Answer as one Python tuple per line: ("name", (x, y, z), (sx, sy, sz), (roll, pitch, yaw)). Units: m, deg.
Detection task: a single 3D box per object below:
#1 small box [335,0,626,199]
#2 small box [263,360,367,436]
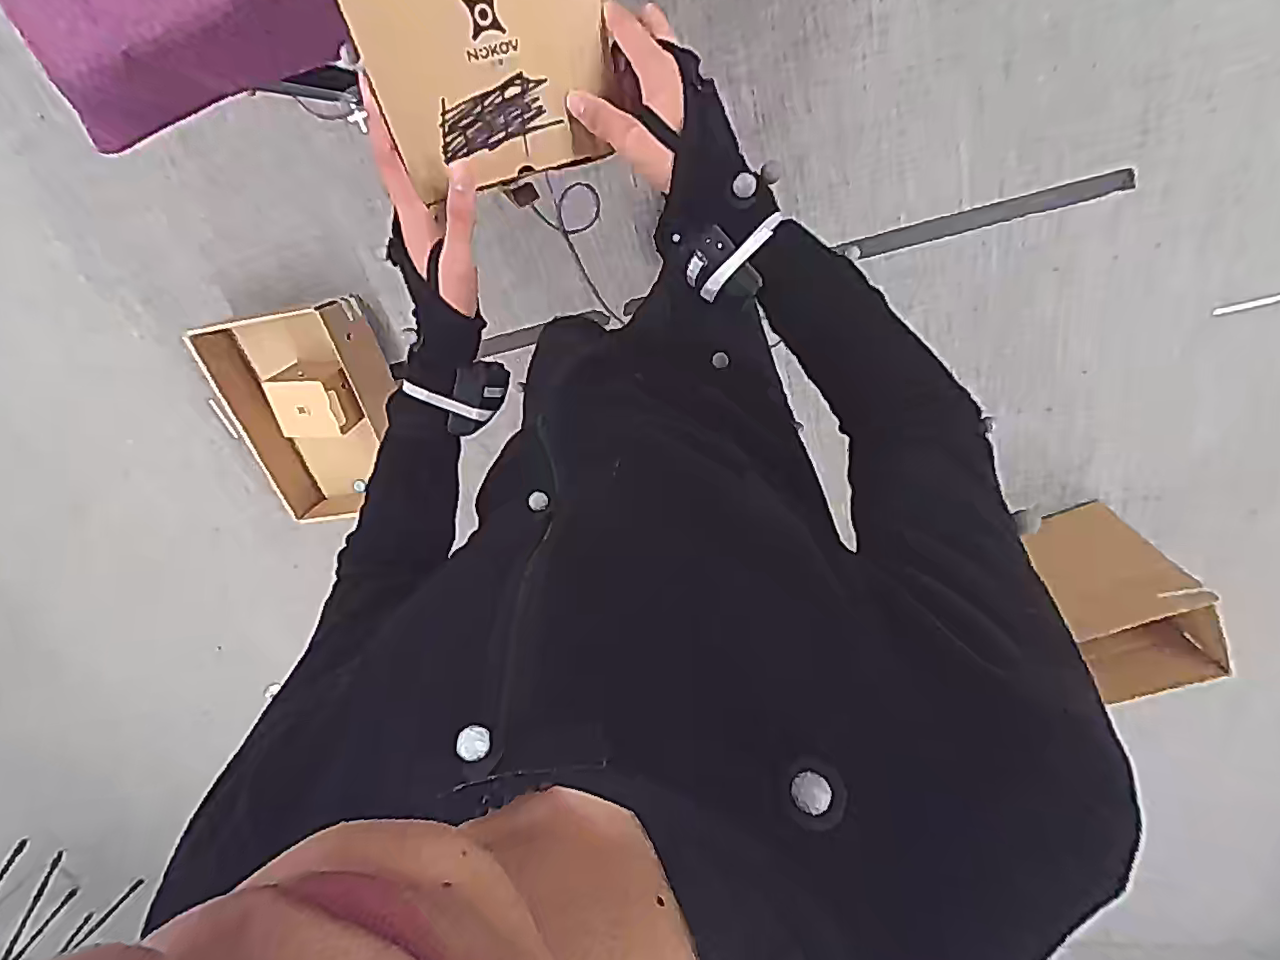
("small box", (-0.126, -0.337, 0.405), (0.168, 0.176, 0.179), (-22, 129, -9))
("small box", (-0.905, -0.235, 1.532), (0.179, 0.176, 0.168), (0, 121, 4))
